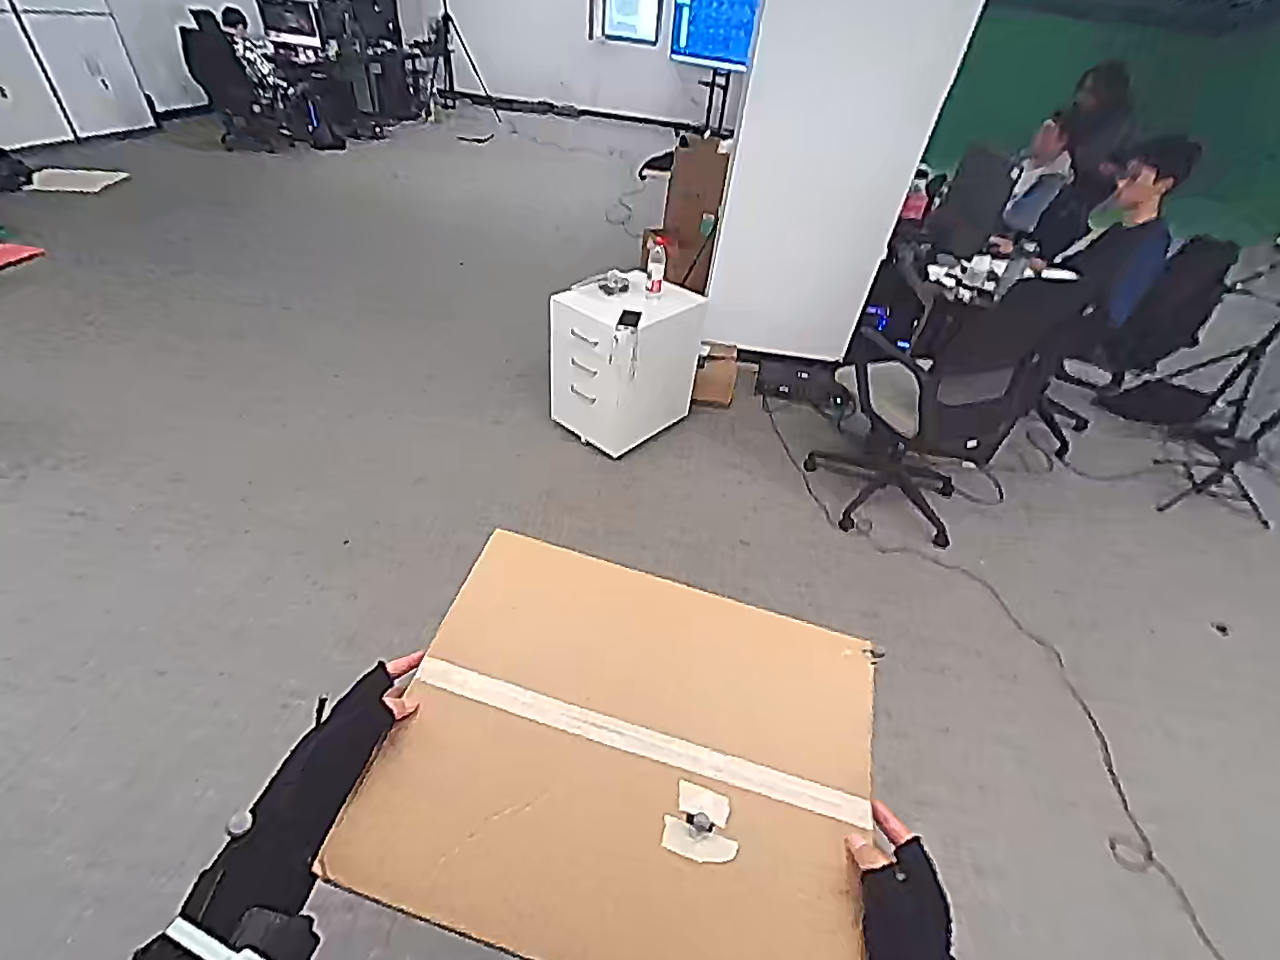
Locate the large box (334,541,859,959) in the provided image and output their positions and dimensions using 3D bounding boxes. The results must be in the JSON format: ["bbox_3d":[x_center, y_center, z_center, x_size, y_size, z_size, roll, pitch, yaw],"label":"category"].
[{"bbox_3d":[-0.021,0.319,0.597,0.408,0.320,0.320,16,53,5],"label":"large box"}]
